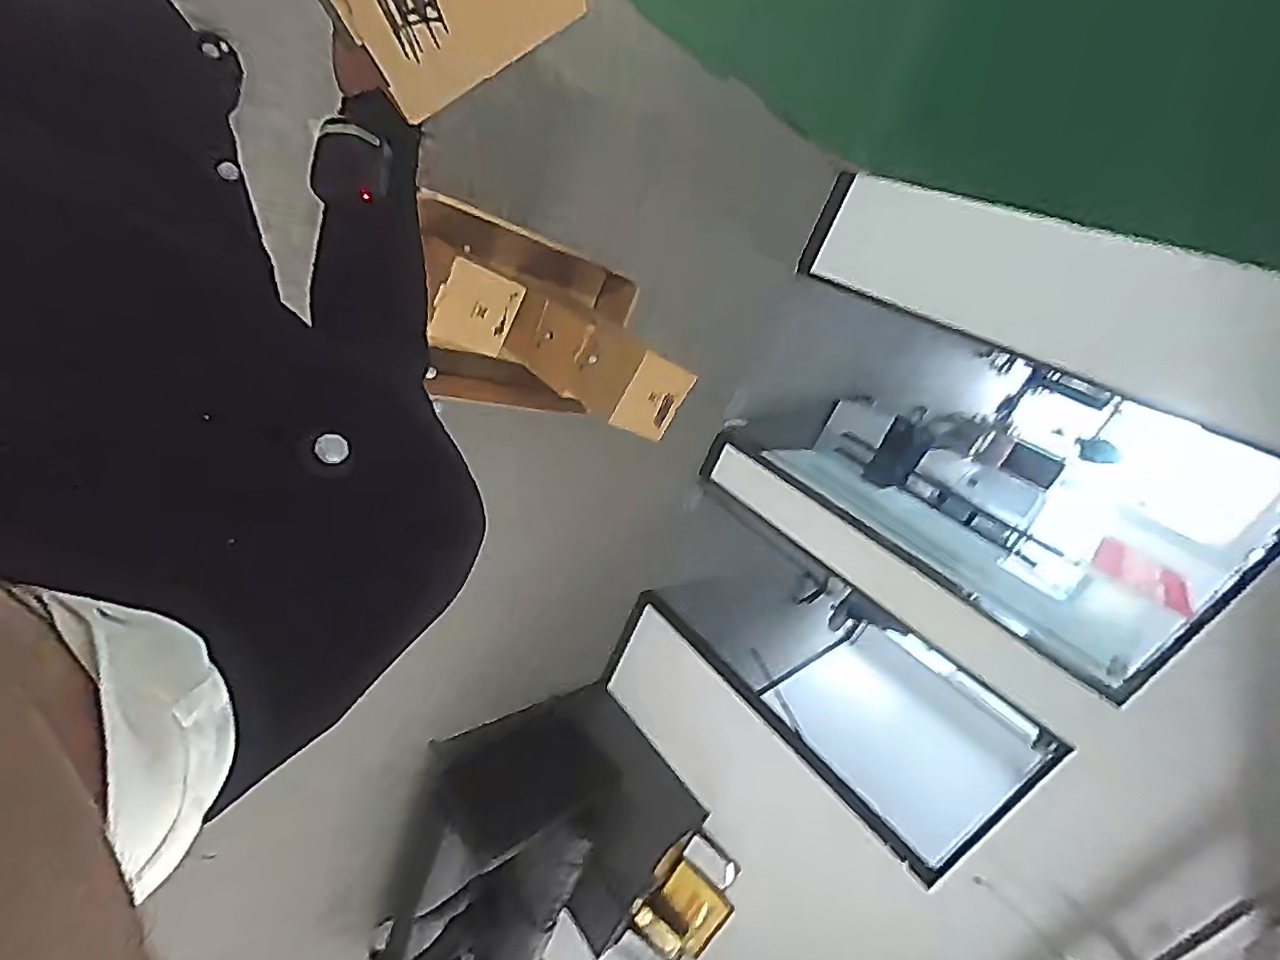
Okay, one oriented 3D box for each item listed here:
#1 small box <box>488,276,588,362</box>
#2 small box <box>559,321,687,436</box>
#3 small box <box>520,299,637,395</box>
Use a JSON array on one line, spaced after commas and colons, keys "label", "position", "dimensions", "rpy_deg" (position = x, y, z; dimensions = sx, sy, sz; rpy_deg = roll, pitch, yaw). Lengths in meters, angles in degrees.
[{"label": "small box", "position": [-0.246, -0.388, 1.349], "dimensions": [0.179, 0.176, 0.168], "rpy_deg": [0, 121, -48]}, {"label": "small box", "position": [-0.038, -0.219, 1.163], "dimensions": [0.179, 0.176, 0.168], "rpy_deg": [13, 112, -51]}, {"label": "small box", "position": [-0.146, -0.302, 1.255], "dimensions": [0.179, 0.176, 0.168], "rpy_deg": [0, 122, -47]}]
